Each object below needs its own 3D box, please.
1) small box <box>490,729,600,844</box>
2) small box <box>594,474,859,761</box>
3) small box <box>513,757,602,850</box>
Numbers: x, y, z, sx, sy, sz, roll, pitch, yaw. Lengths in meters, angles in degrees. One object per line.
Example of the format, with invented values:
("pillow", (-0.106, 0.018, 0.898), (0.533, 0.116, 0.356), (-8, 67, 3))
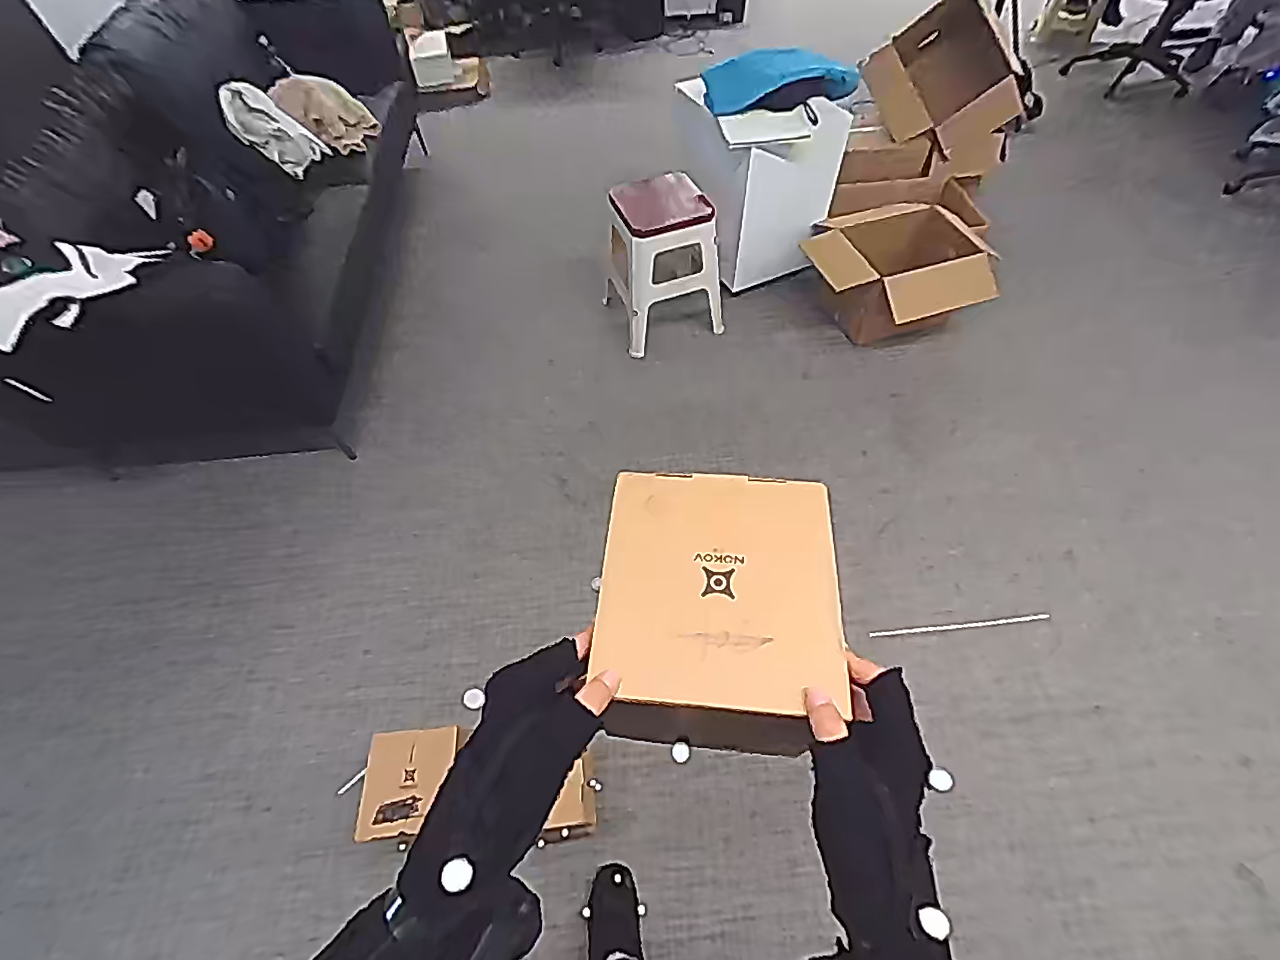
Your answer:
("small box", (-0.179, 0.596, 1.047), (0.179, 0.176, 0.168), (-7, 56, -3))
("small box", (0.063, 0.116, 0.444), (0.168, 0.176, 0.179), (3, 56, 6))
("small box", (-0.177, 0.692, 1.180), (0.168, 0.176, 0.179), (-7, 55, -1))
